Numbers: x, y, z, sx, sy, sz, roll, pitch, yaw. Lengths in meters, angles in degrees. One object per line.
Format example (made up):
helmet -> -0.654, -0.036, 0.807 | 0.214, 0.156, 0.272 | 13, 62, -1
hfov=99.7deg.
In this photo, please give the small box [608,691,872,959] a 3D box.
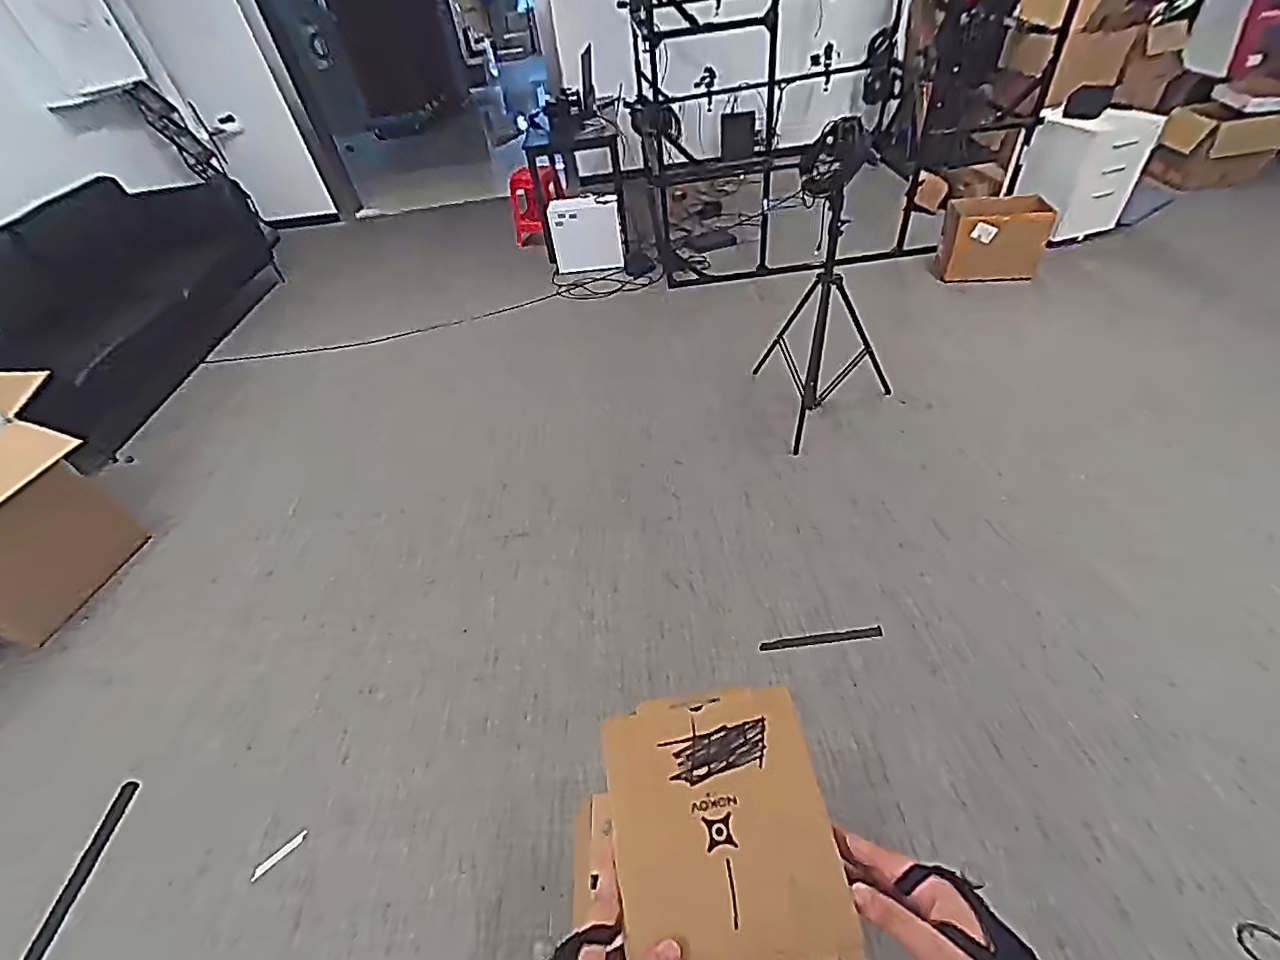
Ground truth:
small box -> 0.069, 0.308, 0.472 | 0.168, 0.176, 0.179 | -10, 54, -1
